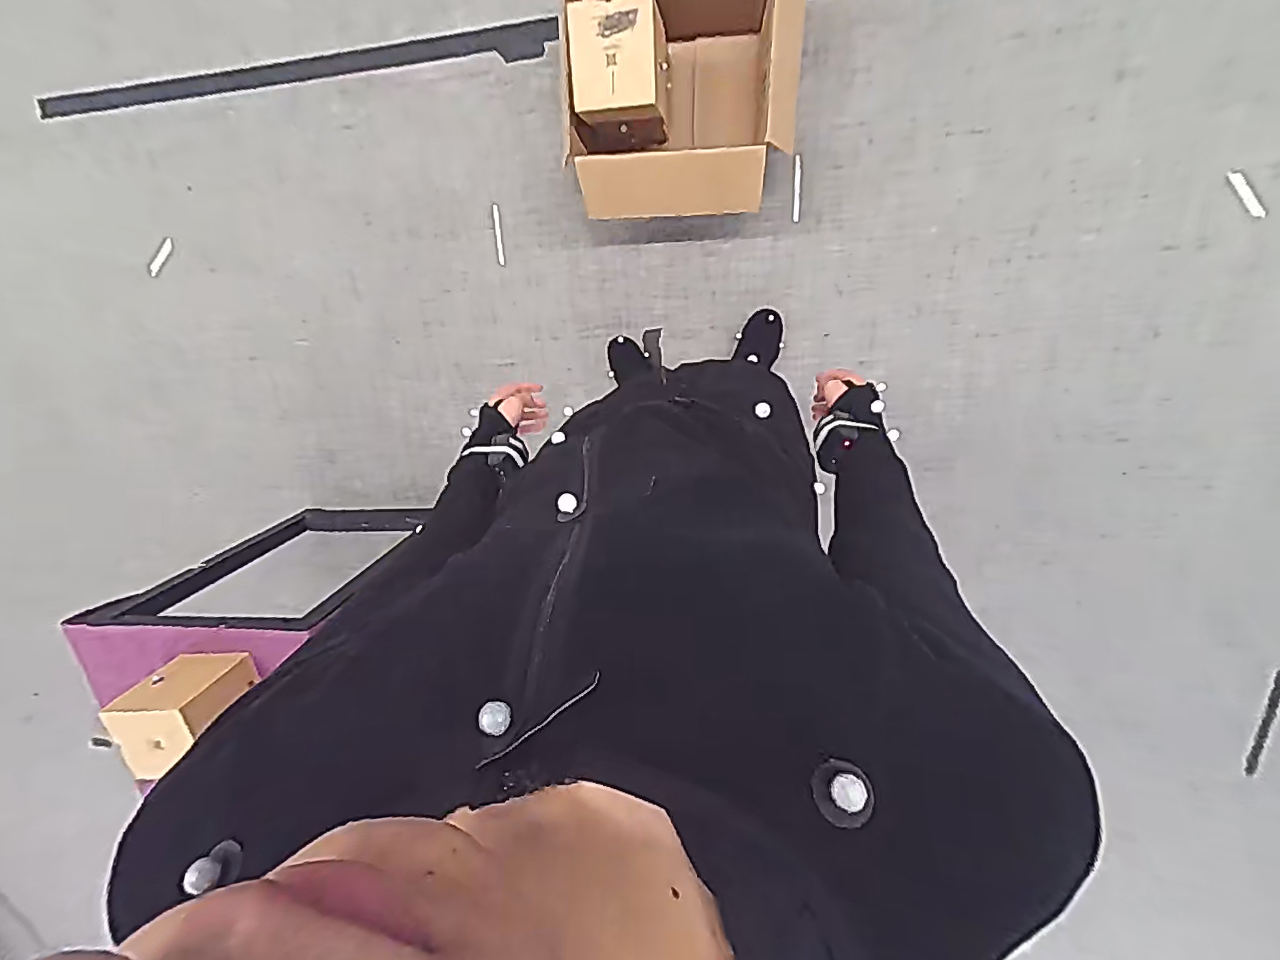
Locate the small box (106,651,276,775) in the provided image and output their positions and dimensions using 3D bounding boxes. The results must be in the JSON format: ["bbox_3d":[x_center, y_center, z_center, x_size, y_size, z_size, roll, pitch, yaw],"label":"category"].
[{"bbox_3d":[-0.895,0.463,1.095,0.179,0.176,0.168,-4,109,10],"label":"small box"}]
